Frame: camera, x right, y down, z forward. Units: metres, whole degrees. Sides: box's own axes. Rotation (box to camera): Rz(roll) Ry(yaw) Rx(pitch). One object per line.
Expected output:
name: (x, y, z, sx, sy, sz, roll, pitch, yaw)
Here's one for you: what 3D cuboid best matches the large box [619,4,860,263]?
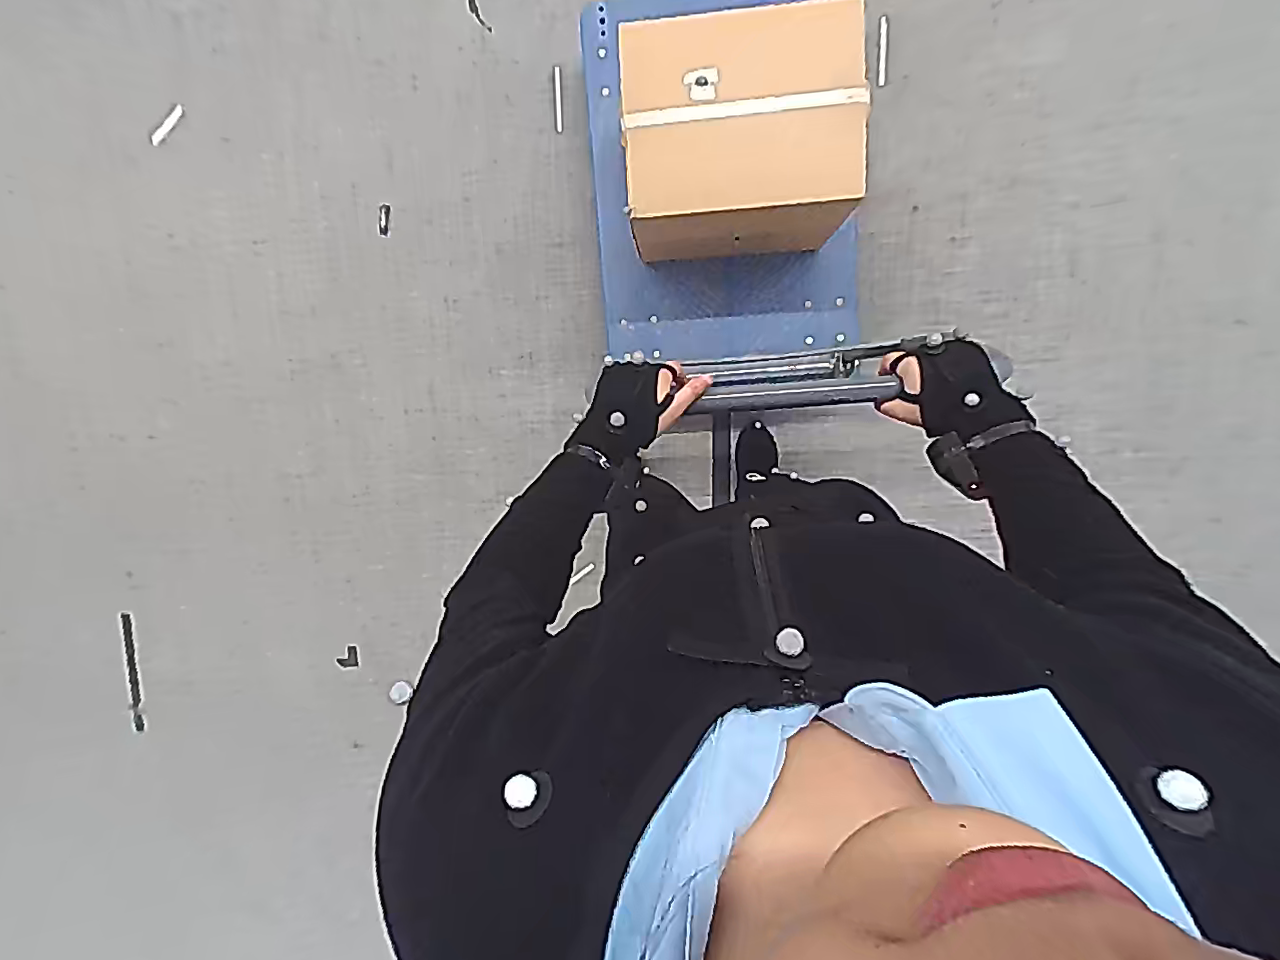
large box: (0.187, -0.646, 1.081, 0.408, 0.320, 0.320, -3, 97, 6)
